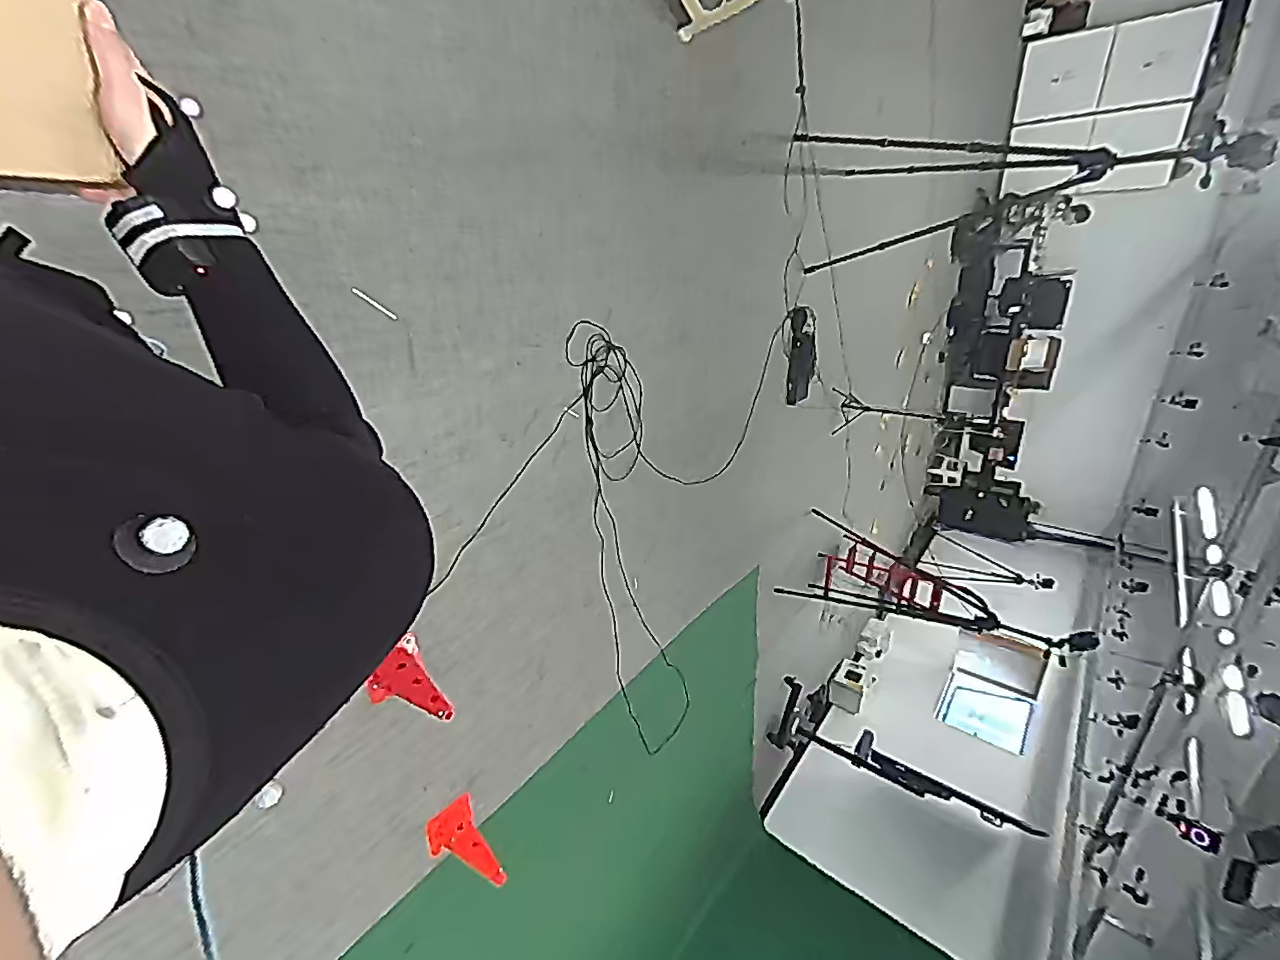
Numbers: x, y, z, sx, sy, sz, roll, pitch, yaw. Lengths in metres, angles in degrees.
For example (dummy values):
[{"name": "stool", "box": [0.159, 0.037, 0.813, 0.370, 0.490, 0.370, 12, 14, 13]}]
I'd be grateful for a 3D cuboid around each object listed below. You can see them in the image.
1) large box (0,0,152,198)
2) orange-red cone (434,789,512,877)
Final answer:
[{"name": "large box", "box": [-0.662, -0.376, 0.363, 0.408, 0.320, 0.320, -23, 125, -43]}, {"name": "orange-red cone", "box": [-0.644, 1.471, 2.187, 0.199, 0.360, 0.198, -22, 120, -48]}]
